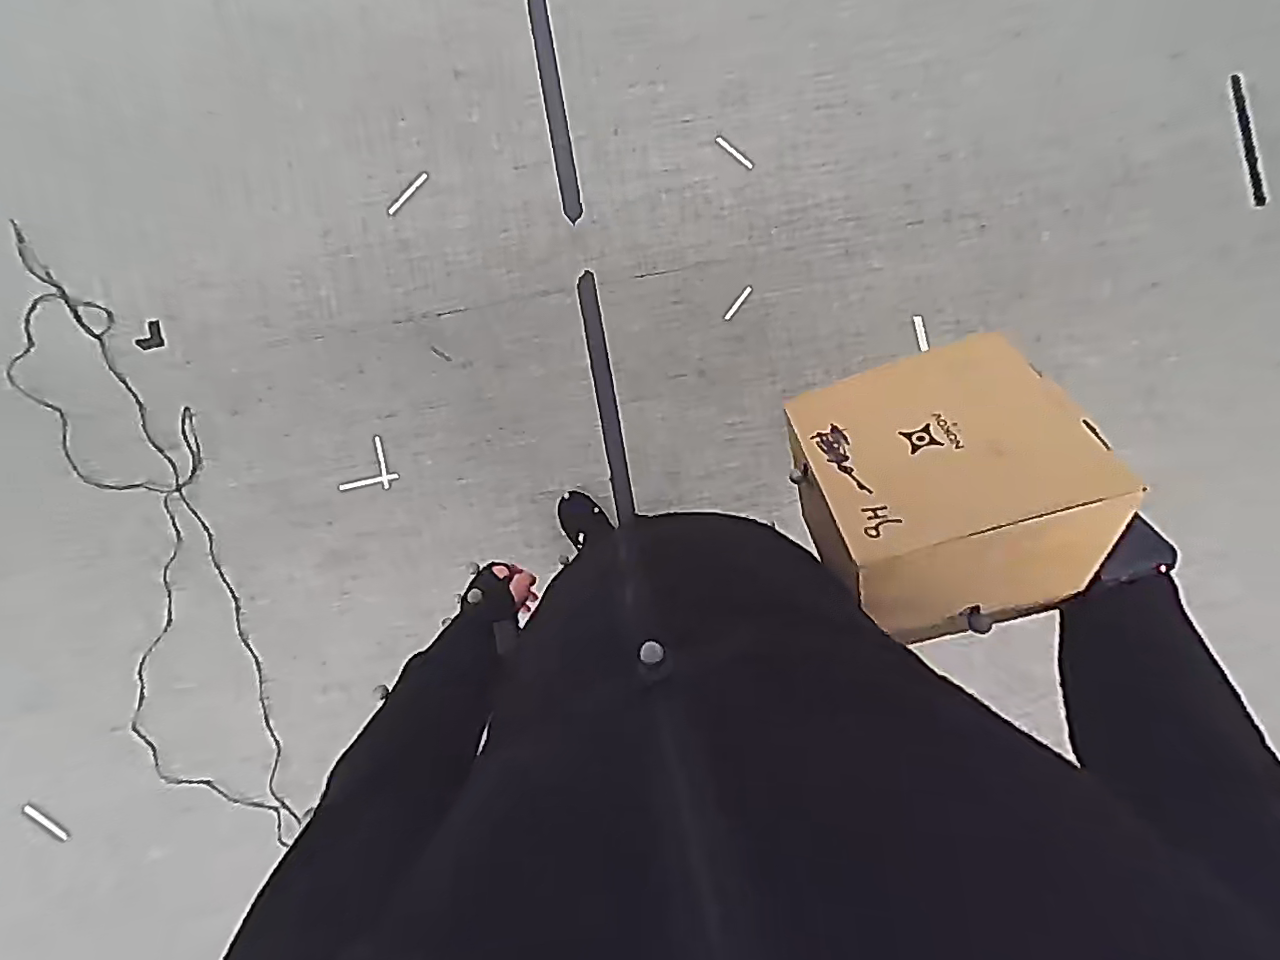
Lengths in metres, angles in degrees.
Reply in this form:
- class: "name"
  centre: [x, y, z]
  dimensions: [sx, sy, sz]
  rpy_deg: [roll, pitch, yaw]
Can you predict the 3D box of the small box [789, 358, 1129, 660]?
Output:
- class: "small box"
  centre: [0.242, 0.032, 0.463]
  dimensions: [0.179, 0.176, 0.168]
  rpy_deg: [-17, 48, 9]
